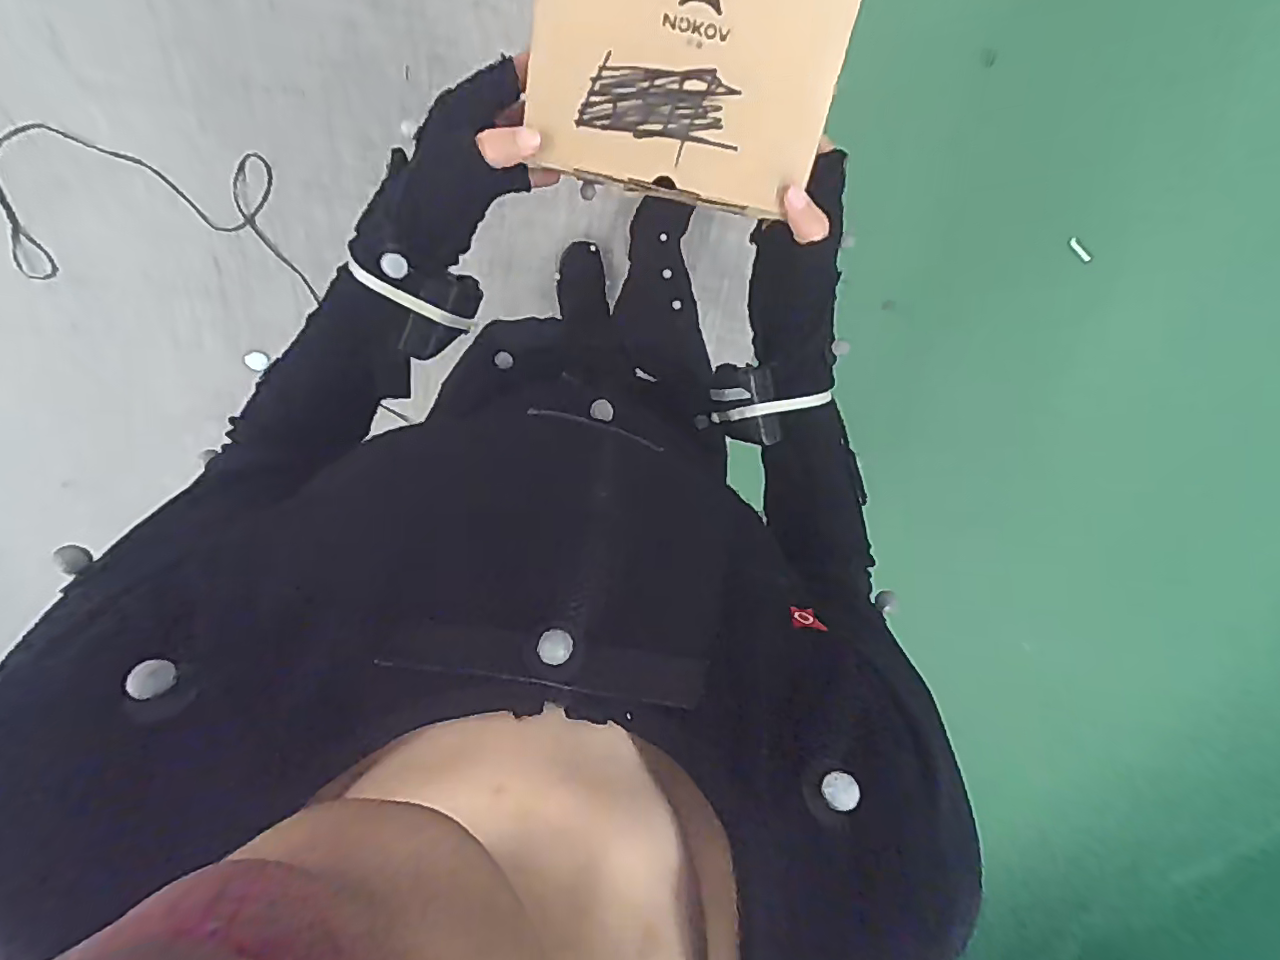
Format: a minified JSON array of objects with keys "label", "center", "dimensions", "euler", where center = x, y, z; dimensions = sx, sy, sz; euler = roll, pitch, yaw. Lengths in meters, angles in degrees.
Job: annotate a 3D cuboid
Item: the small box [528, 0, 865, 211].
[{"label":"small box","center":[0.031,-0.286,0.346],"dimensions":[0.168,0.176,0.179],"euler":[9,116,-7]}]
